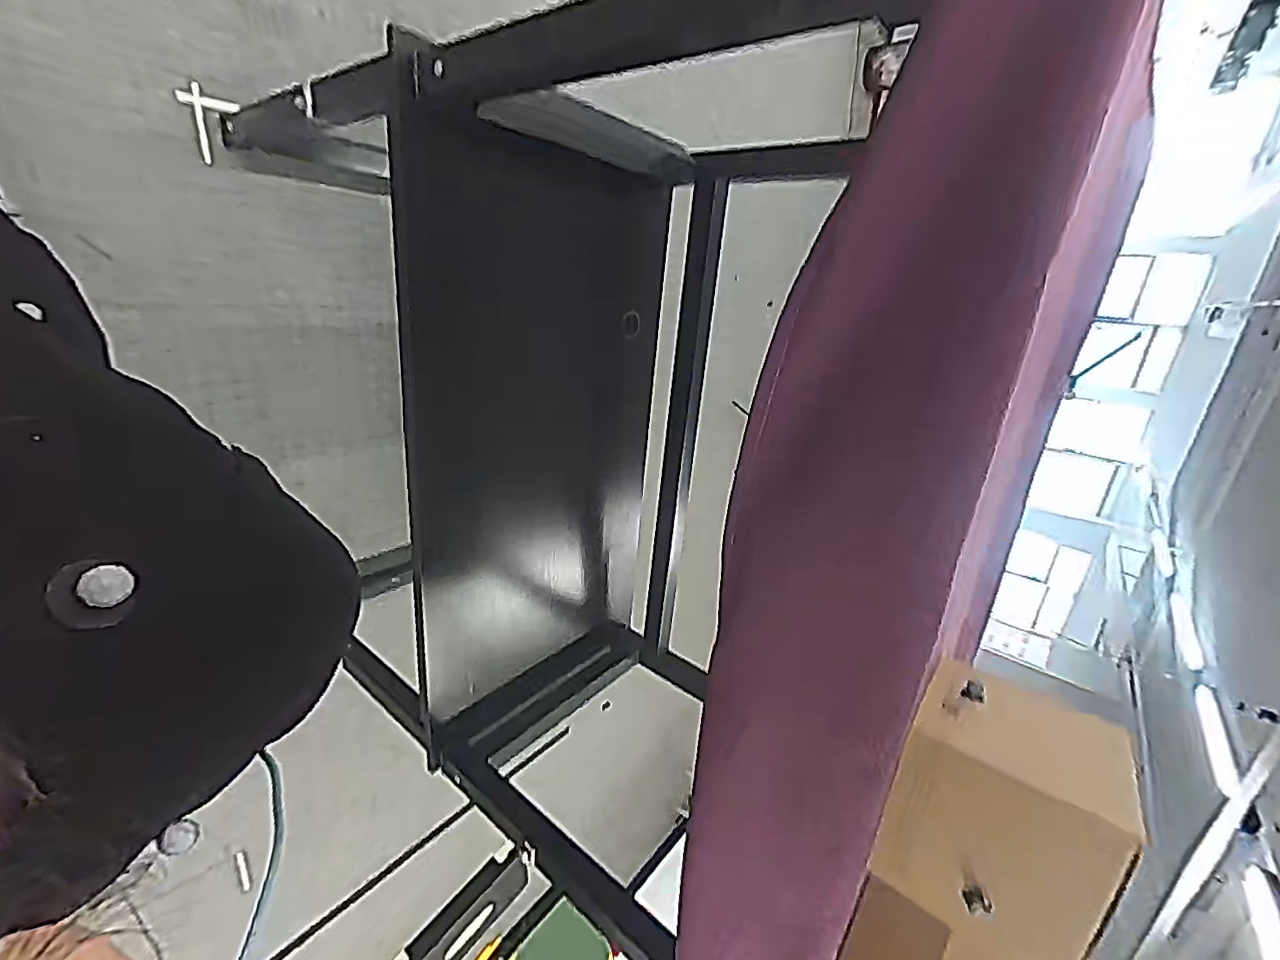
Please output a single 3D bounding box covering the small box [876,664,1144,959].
[{"bbox_3d":[0.350,0.319,0.534,0.168,0.176,0.179,-14,116,-52],"label":"small box"}]
